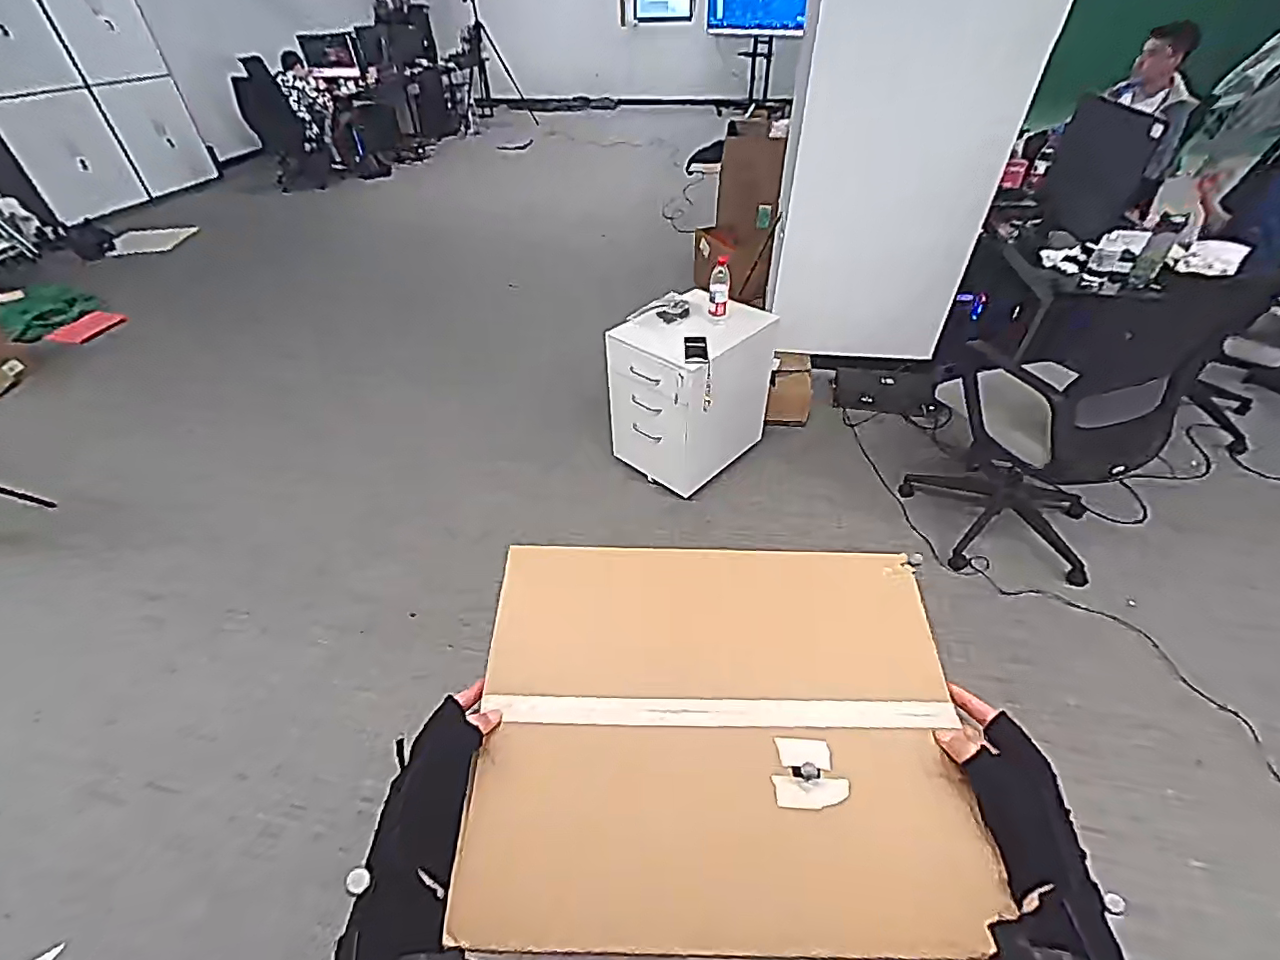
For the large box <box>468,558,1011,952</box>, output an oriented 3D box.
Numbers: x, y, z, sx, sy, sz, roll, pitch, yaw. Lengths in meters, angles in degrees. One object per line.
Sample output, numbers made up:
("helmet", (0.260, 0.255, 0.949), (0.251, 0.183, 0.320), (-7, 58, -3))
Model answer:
("large box", (0.069, 0.294, 0.593), (0.408, 0.320, 0.320), (1, 55, 0))
